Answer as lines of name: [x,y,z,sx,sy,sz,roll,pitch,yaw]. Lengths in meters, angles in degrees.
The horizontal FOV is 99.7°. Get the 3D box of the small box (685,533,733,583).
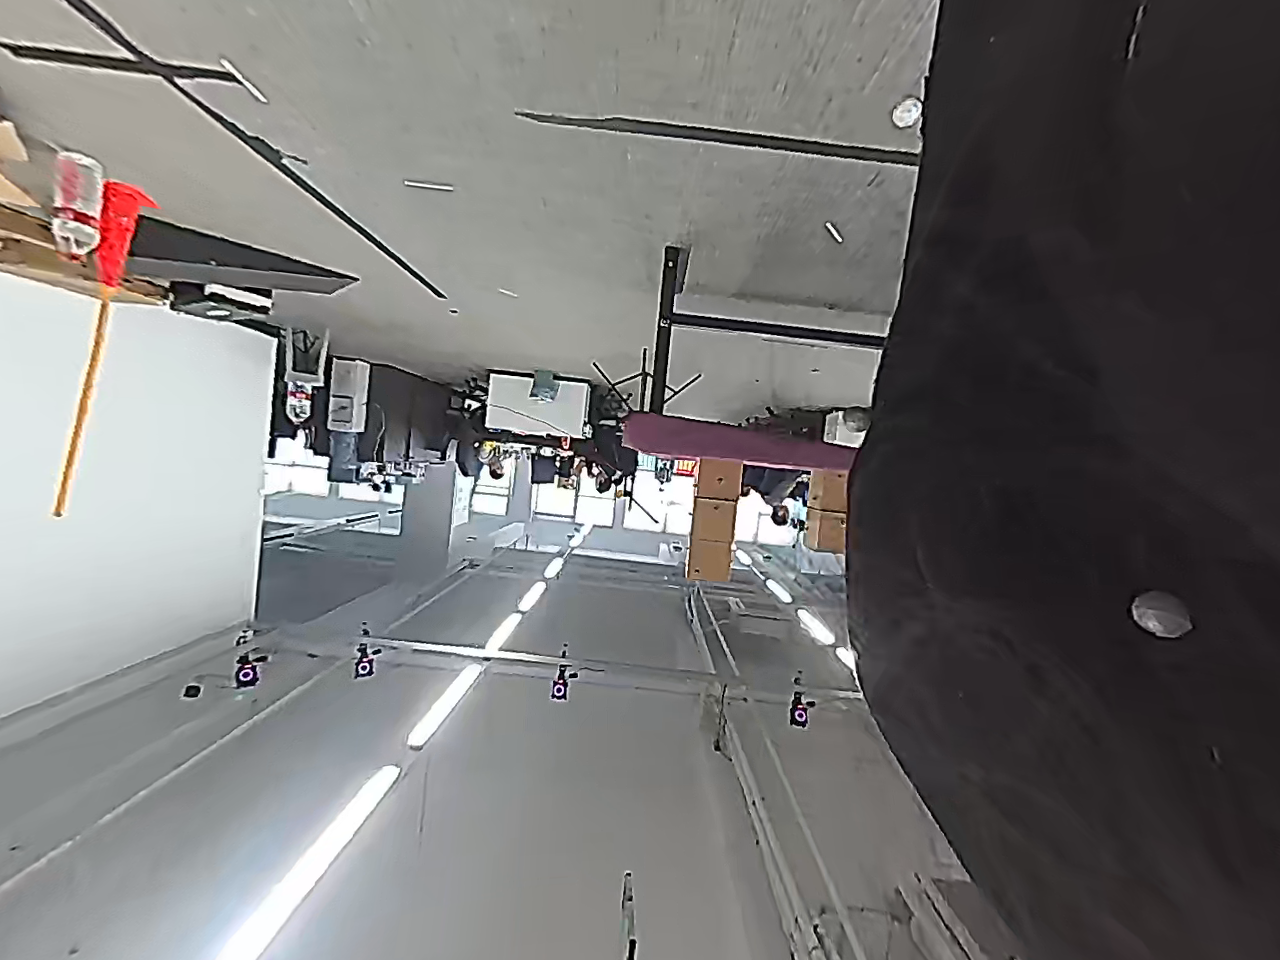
small box: [0.282,0.312,2.219,0.179,0.176,0.168,6,-178,4]

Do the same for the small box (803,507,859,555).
small box: [0.778,0.200,2.200,0.168,0.176,0.179,5,-179,0]

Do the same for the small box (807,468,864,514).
small box: [0.798,0.039,2.206,0.168,0.176,0.179,6,-177,0]

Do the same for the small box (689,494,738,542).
small box: [0.297,0.150,2.204,0.179,0.176,0.168,6,-177,4]
